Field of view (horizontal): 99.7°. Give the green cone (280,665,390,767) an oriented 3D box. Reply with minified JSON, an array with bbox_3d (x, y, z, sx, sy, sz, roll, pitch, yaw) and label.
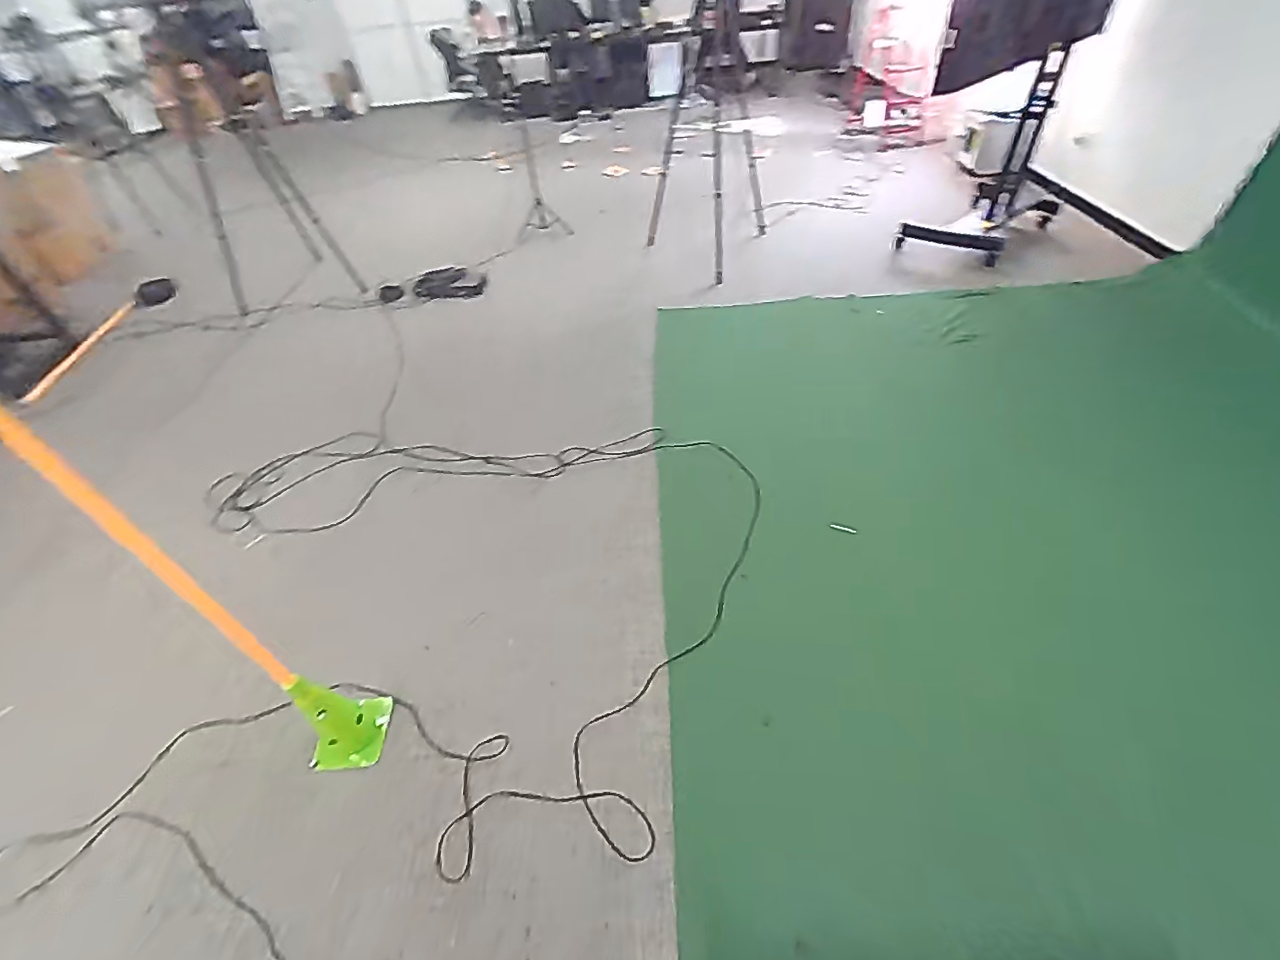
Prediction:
[{"bbox_3d":[-0.881,0.622,1.500,0.200,0.368,0.202,-6,44,1],"label":"green cone"}]
